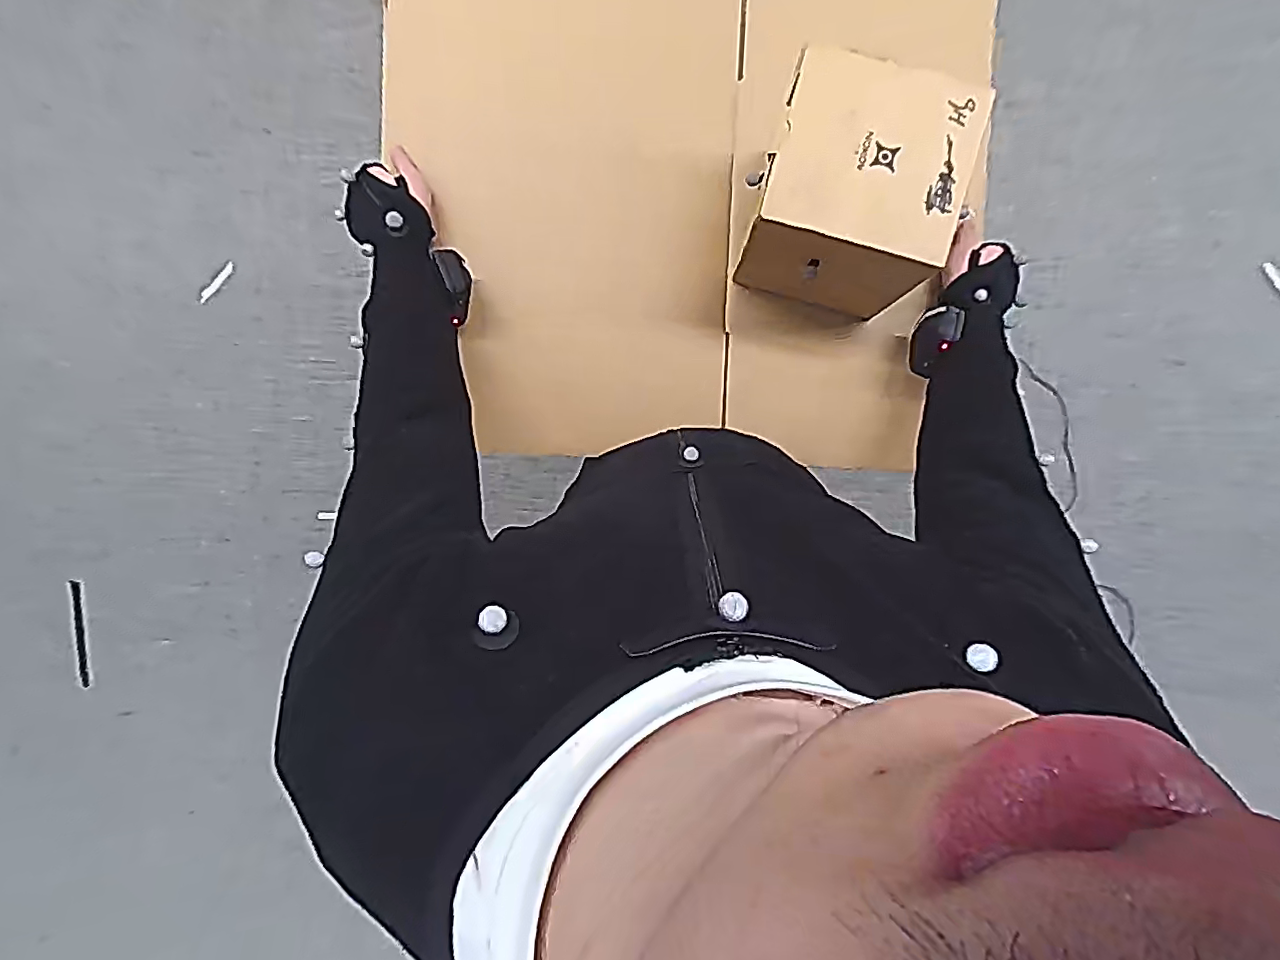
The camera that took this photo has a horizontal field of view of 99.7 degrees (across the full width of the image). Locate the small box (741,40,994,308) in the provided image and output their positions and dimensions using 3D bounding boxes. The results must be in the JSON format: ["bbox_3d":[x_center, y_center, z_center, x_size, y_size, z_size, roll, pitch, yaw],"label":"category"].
[{"bbox_3d":[0.216,-0.300,0.568,0.179,0.176,0.168,17,91,2],"label":"small box"}]
